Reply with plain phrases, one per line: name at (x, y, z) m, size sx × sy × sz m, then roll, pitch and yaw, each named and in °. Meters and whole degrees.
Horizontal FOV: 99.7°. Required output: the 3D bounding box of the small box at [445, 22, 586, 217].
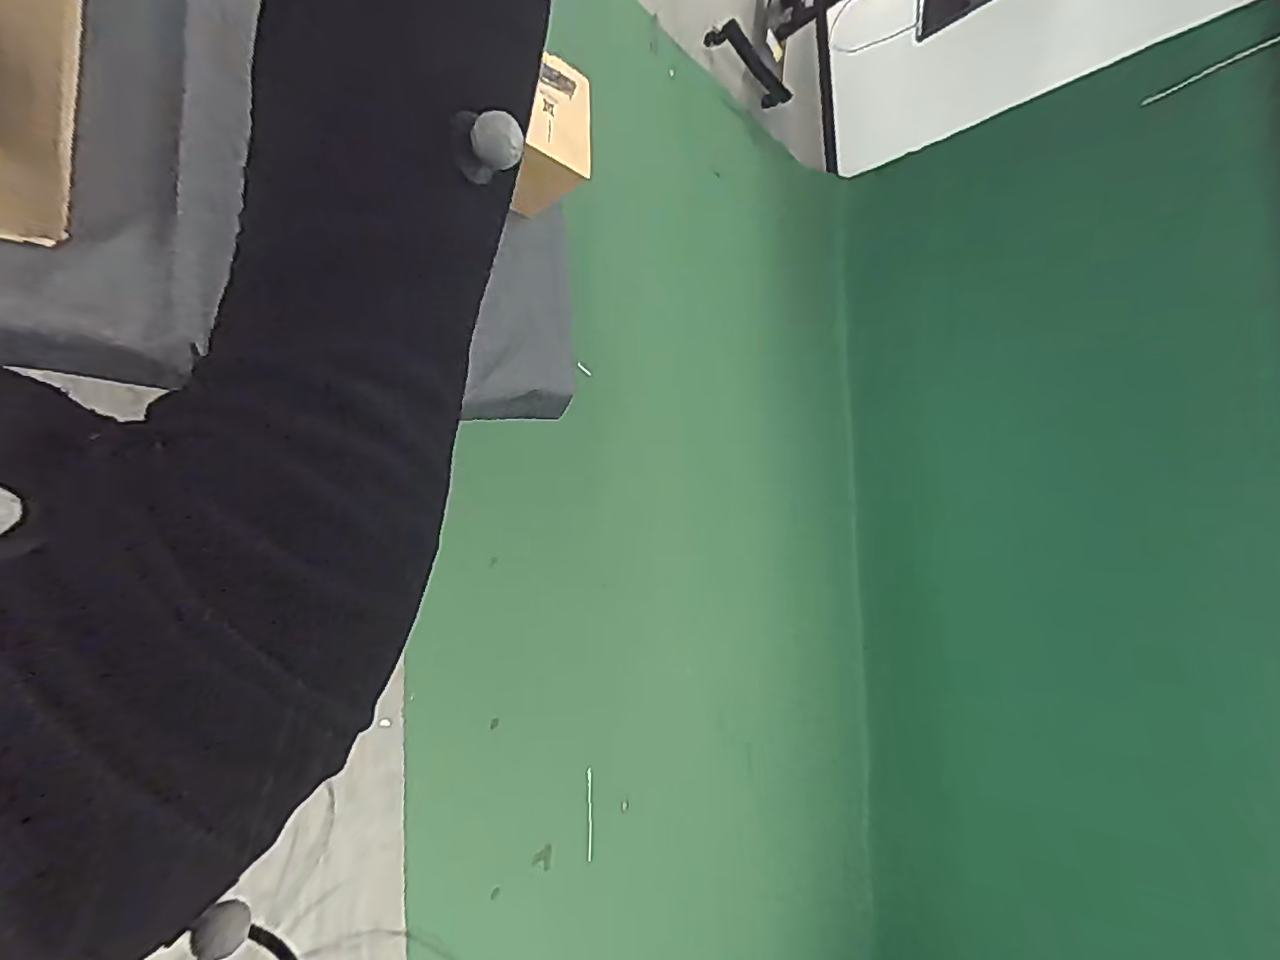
small box at (-0.206, -0.573, 0.889) m, size 0.168 × 0.176 × 0.179 m, roll 3°, pitch 85°, yaw -47°
